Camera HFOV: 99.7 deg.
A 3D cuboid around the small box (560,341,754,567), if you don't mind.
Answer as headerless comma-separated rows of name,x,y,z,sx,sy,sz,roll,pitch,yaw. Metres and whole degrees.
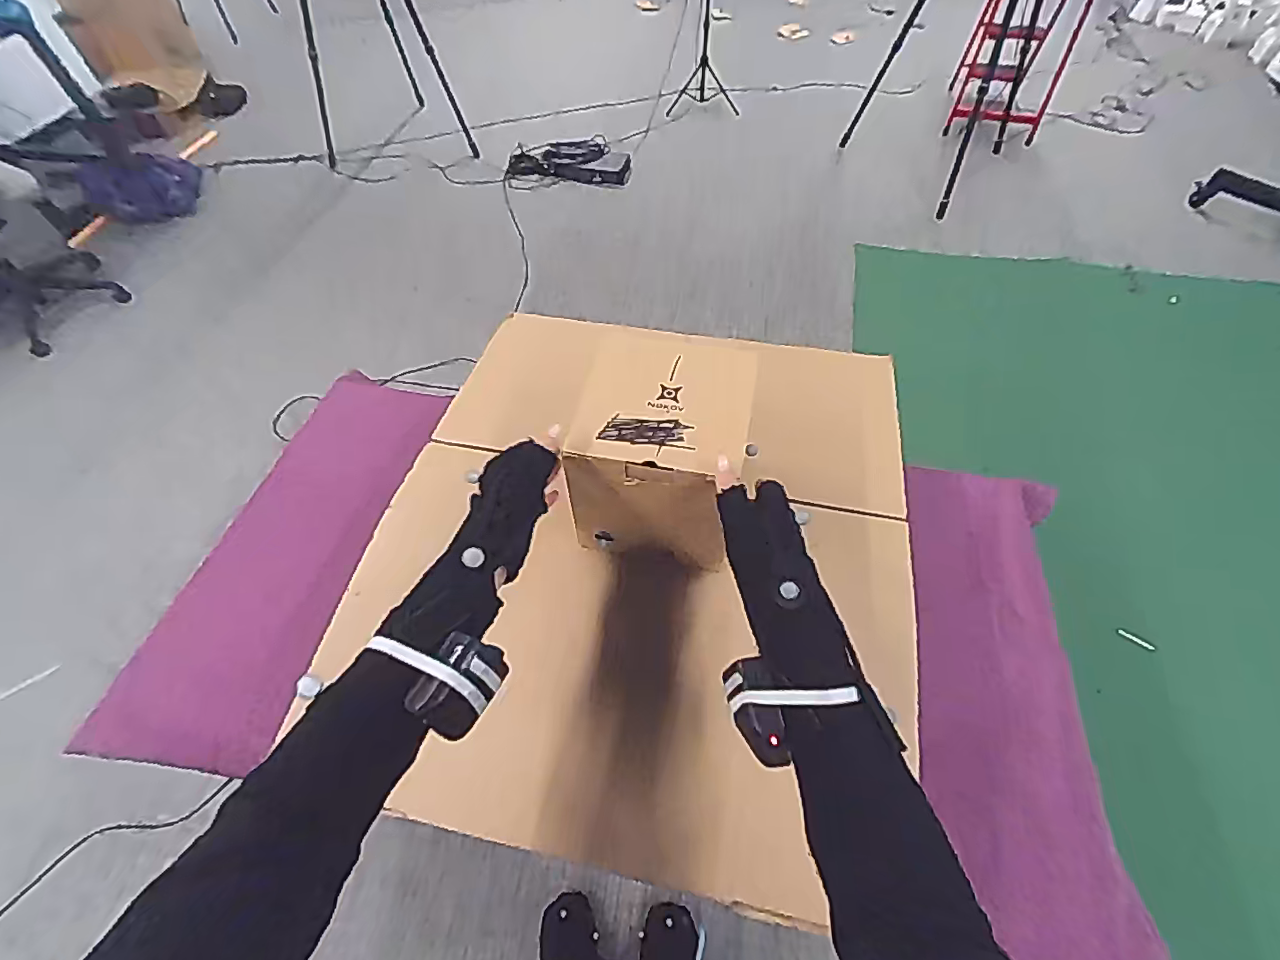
small box,0.025,-0.025,0.599,0.168,0.176,0.179,10,52,8
